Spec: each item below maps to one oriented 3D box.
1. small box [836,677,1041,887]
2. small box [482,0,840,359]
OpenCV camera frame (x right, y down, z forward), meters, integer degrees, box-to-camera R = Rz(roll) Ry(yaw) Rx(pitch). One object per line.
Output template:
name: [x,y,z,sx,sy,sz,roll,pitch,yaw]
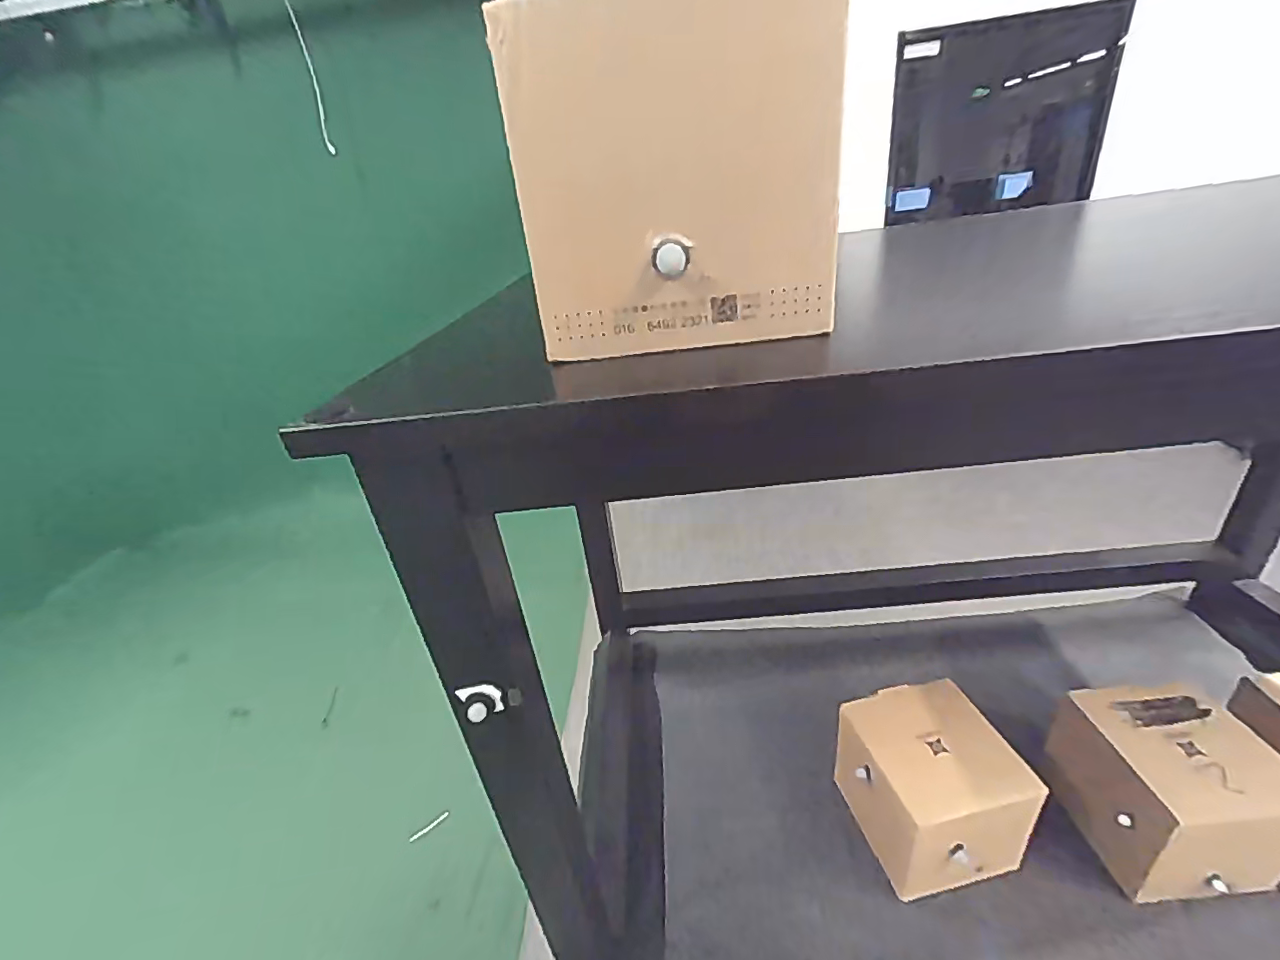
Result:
small box: [0.379,0.403,0.722,0.168,0.176,0.179,-11,27,-6]
small box: [0.018,-0.186,0.351,0.168,0.176,0.179,-5,28,5]
